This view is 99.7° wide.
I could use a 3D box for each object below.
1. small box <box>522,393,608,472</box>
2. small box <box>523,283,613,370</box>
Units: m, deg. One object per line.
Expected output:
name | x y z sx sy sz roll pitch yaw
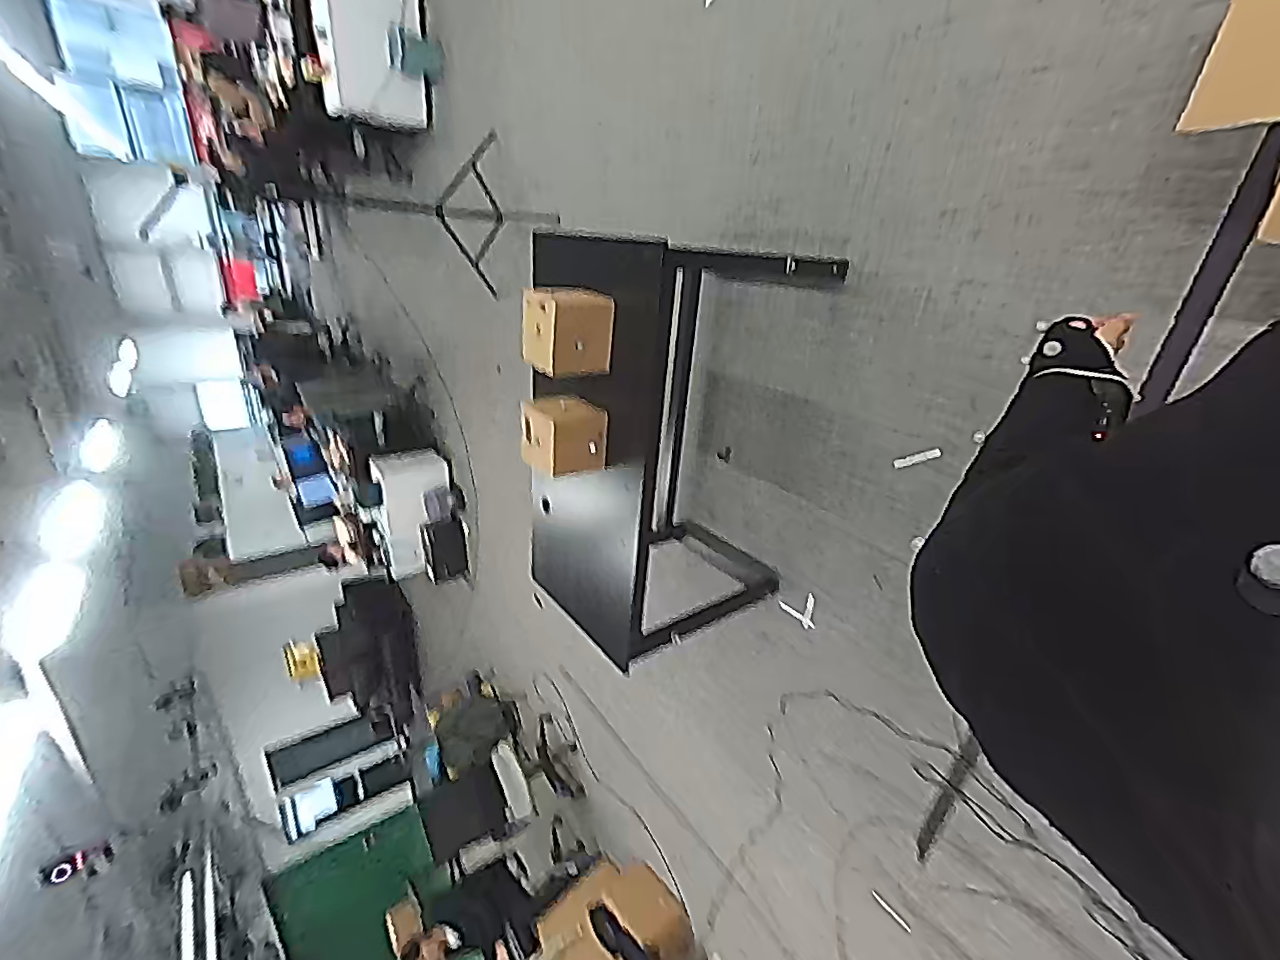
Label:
small box | -0.208 -0.138 1.482 0.179 0.176 0.168 32 125 44
small box | -0.182 -0.392 1.364 0.168 0.176 0.179 35 129 43
